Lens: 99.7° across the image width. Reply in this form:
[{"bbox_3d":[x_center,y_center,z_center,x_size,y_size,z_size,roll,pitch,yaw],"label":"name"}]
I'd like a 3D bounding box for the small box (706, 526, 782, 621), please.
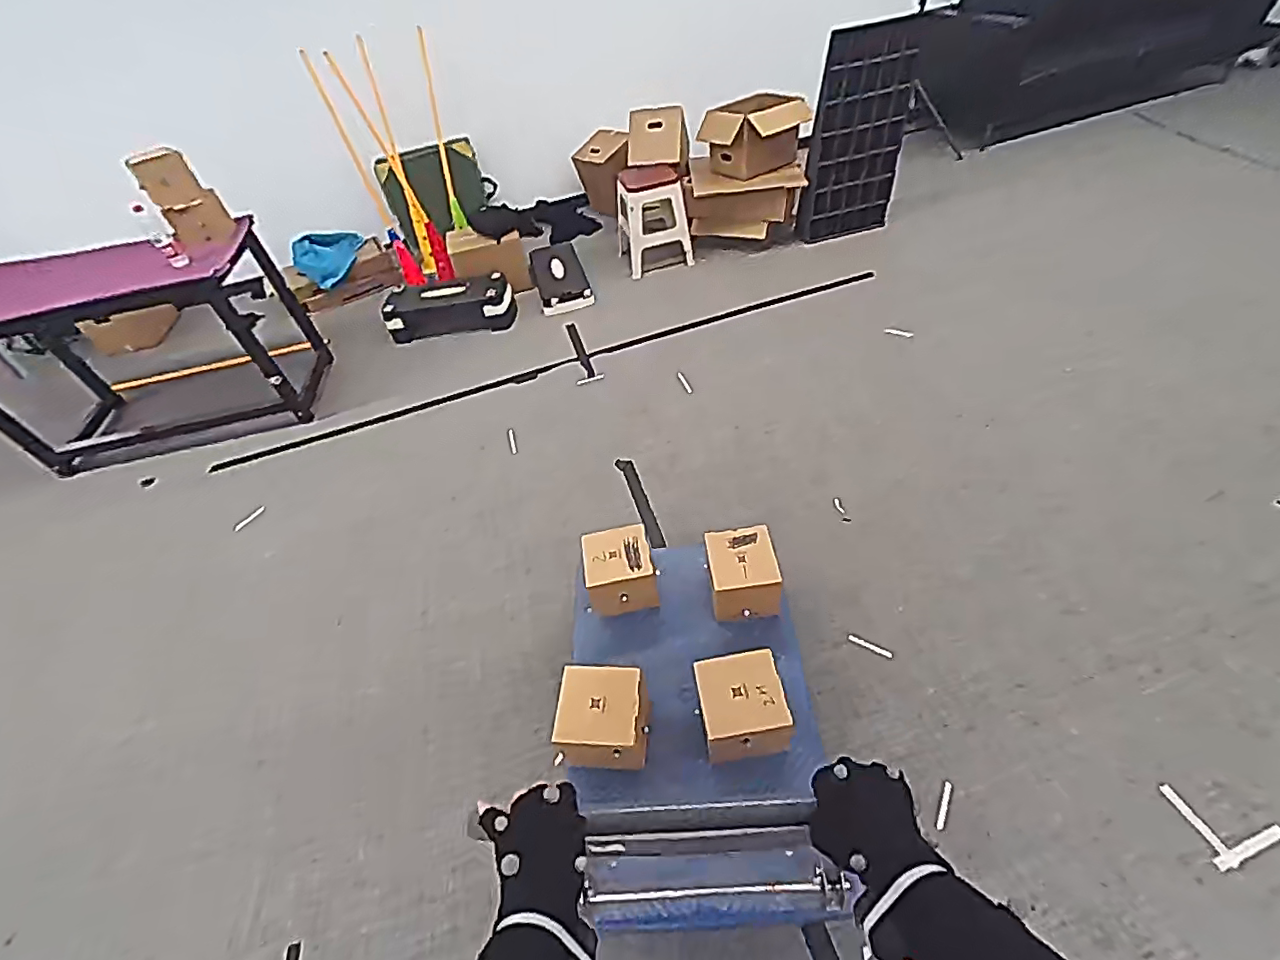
[{"bbox_3d":[0.267,0.249,1.425,0.168,0.176,0.179,-9,48,2],"label":"small box"}]

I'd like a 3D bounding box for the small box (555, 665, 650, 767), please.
[{"bbox_3d":[-0.076,0.535,1.222,0.179,0.176,0.168,-1,47,7],"label":"small box"}]

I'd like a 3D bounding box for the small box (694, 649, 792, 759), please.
[{"bbox_3d":[0.225,0.500,1.201,0.179,0.176,0.168,-10,47,1],"label":"small box"}]
